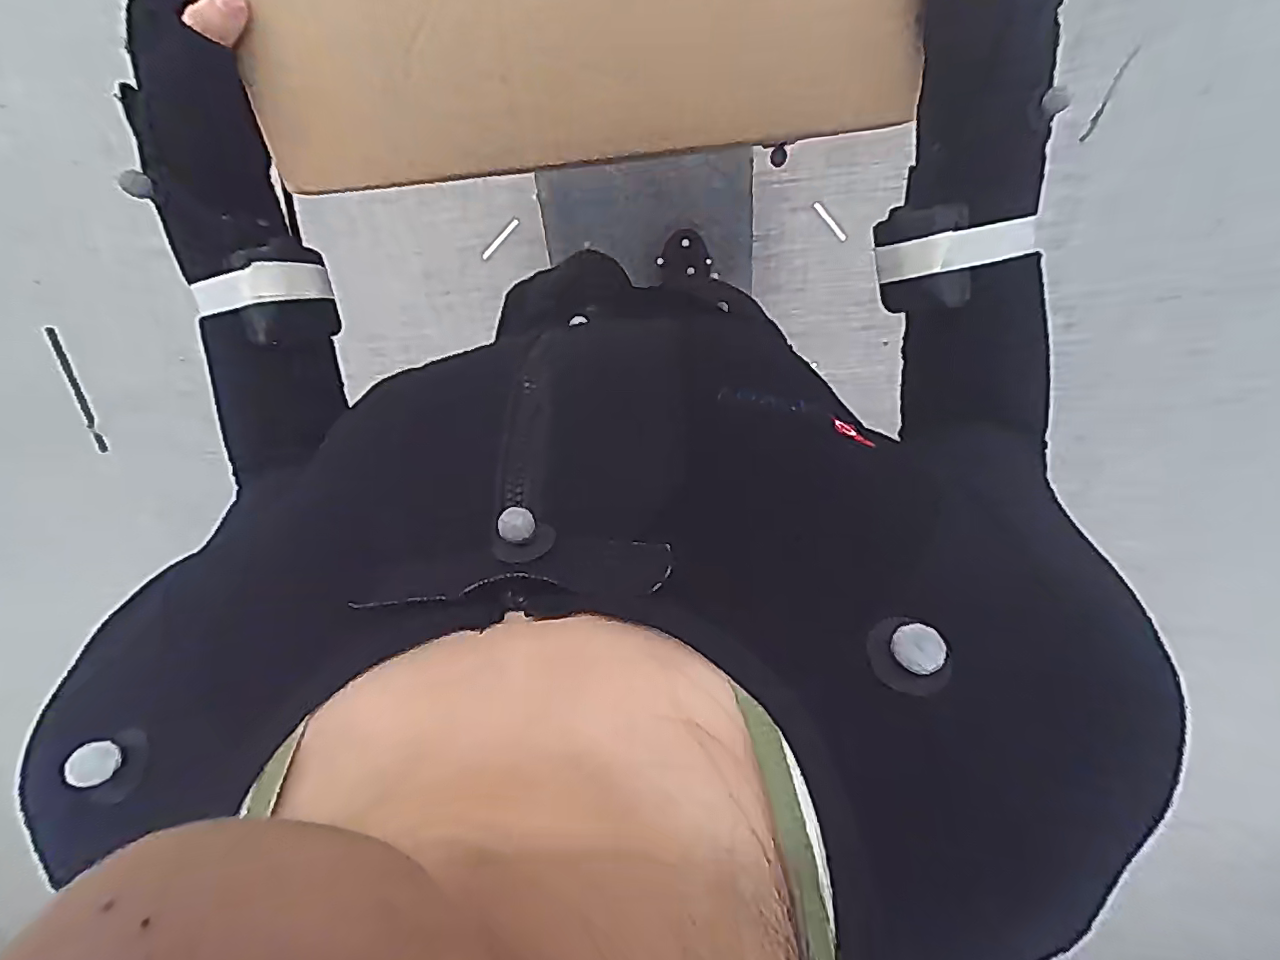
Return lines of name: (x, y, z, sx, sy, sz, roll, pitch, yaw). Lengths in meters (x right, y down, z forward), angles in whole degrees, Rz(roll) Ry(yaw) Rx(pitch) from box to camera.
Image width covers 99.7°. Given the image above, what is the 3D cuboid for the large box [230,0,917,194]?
large box: (-0.043, -0.420, 0.401, 0.408, 0.320, 0.320, -4, 121, 4)
